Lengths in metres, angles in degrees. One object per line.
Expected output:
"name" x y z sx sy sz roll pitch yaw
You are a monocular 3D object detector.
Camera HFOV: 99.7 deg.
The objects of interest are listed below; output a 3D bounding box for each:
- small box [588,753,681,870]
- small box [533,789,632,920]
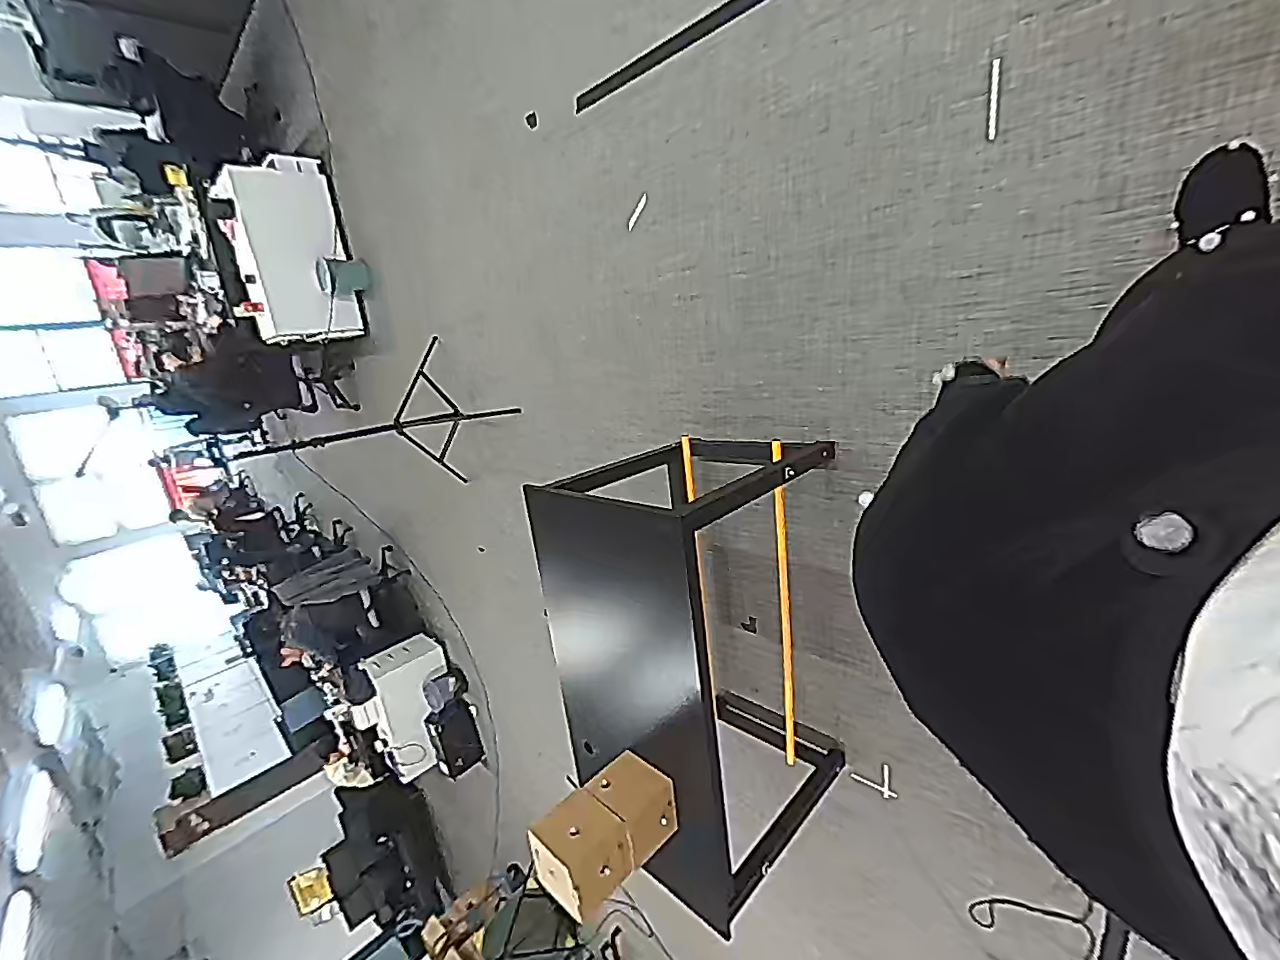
"small box" -0.013 0.870 1.444 0.179 0.176 0.168 10 114 45
"small box" -0.135 0.917 1.345 0.179 0.176 0.168 6 110 45
